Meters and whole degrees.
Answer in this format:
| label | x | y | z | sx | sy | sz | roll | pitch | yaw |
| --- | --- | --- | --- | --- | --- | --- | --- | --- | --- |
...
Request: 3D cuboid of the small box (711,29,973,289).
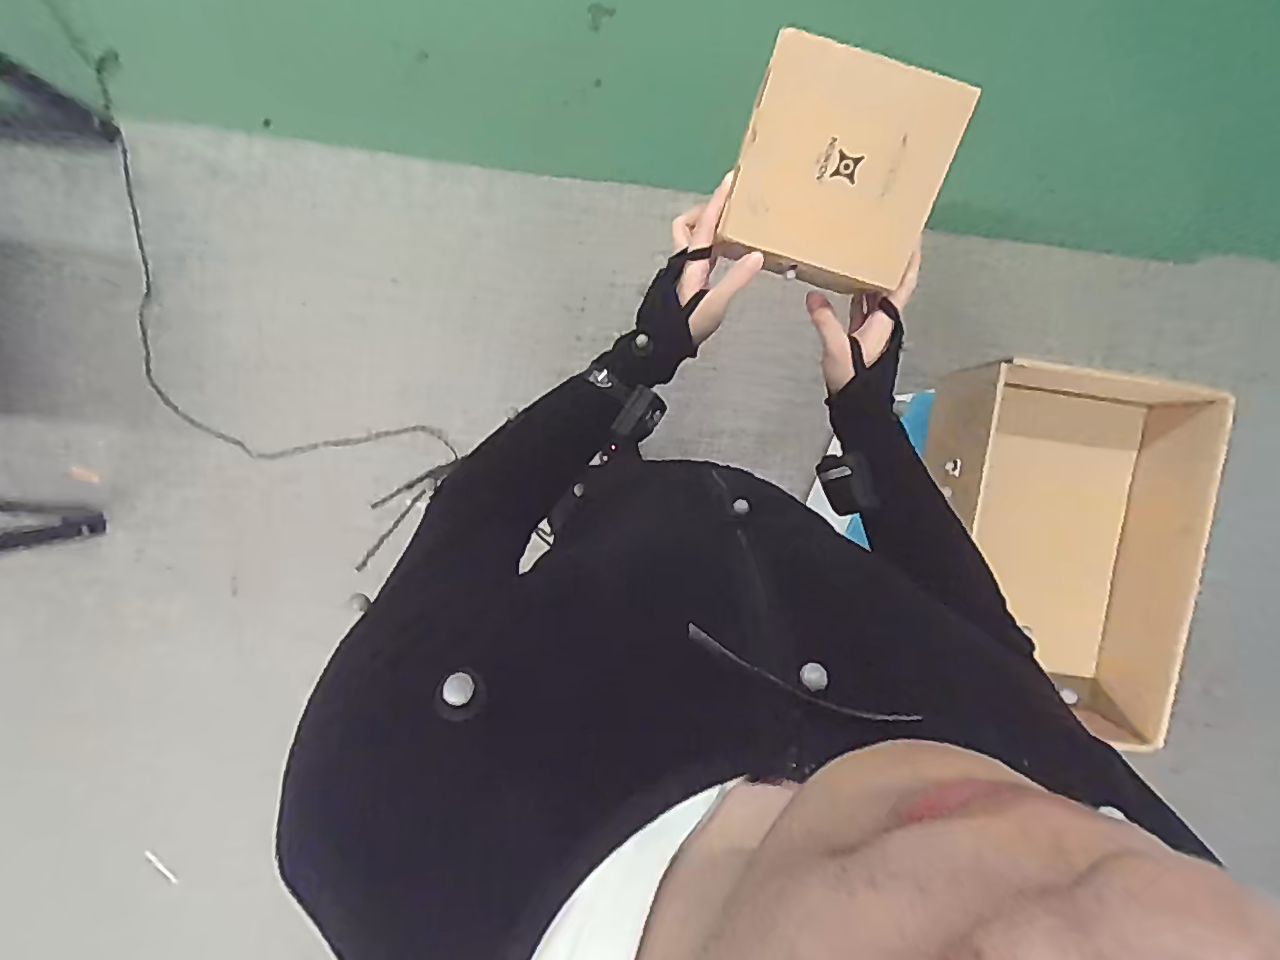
| label | x | y | z | sx | sy | sz | roll | pitch | yaw |
| --- | --- | --- | --- | --- | --- | --- | --- | --- | --- |
| small box | 0.177 | -0.298 | 0.545 | 0.179 | 0.176 | 0.168 | 17 | 108 | 0 |
